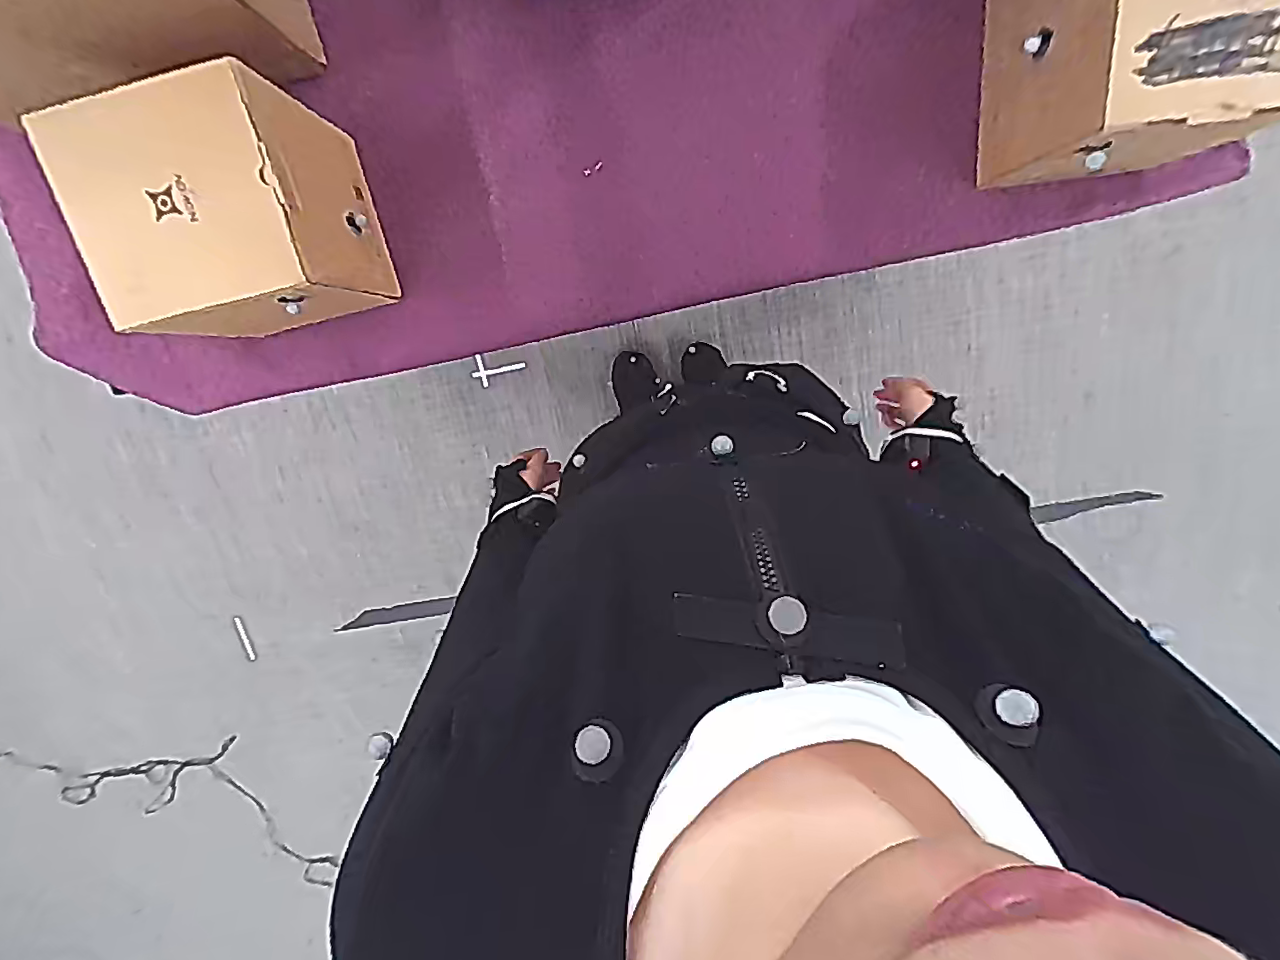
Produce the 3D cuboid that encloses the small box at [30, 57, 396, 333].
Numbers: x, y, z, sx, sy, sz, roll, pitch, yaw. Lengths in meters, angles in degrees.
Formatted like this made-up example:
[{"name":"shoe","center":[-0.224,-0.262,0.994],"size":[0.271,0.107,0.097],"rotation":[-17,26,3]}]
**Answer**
[{"name":"small box","center":[-0.367,-0.239,0.504],"size":[0.179,0.176,0.168],"rotation":[-13,103,4]}]
